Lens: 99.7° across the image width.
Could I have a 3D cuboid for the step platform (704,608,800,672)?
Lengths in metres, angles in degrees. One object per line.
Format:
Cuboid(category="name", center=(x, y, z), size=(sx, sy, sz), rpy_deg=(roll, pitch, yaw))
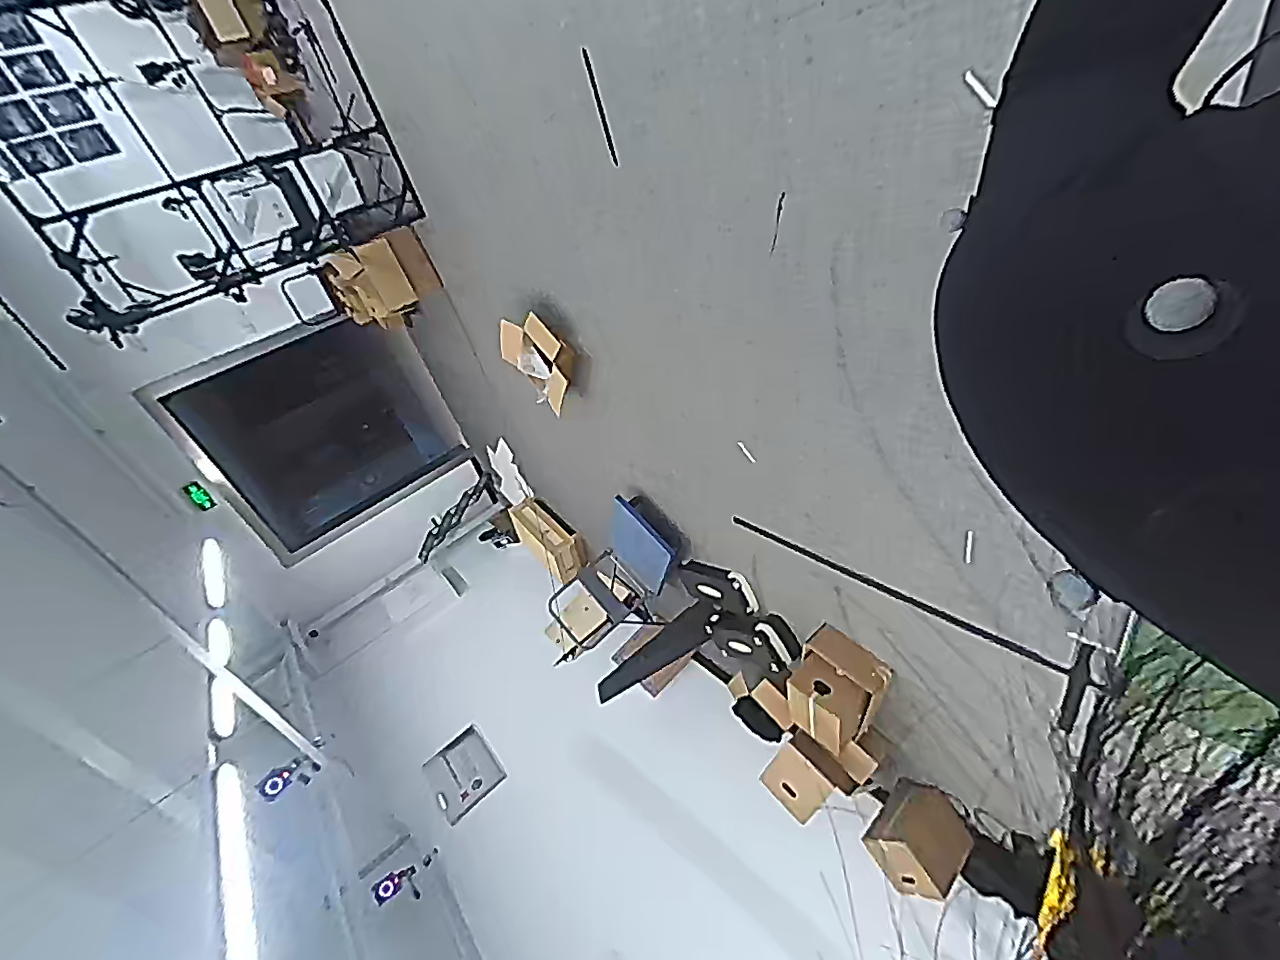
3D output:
Cuboid(category="step platform", center=(0.692, 1.016, 3.468), size=(0.286, 0.204, 0.684), rpy_deg=(57, 155, -6))
